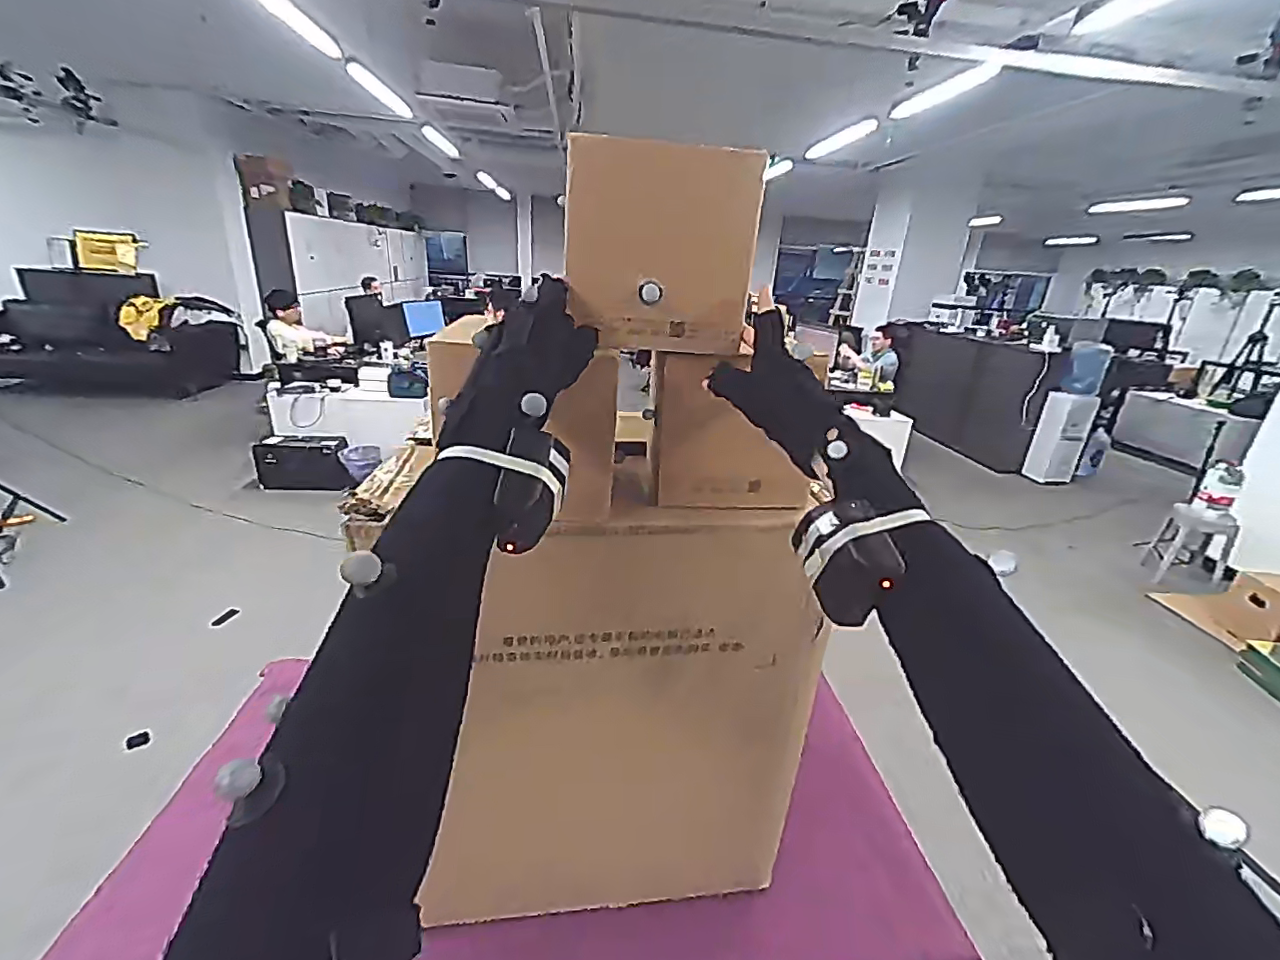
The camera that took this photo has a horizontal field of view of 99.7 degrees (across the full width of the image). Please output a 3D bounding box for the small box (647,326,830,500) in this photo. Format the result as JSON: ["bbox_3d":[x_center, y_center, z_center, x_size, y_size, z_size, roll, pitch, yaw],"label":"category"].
[{"bbox_3d":[0.098,-0.084,0.623,0.168,0.176,0.179,2,21,-4],"label":"small box"}]

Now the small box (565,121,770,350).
[{"bbox_3d":[0.014,-0.233,0.539,0.168,0.176,0.179,2,23,-5],"label":"small box"}]
